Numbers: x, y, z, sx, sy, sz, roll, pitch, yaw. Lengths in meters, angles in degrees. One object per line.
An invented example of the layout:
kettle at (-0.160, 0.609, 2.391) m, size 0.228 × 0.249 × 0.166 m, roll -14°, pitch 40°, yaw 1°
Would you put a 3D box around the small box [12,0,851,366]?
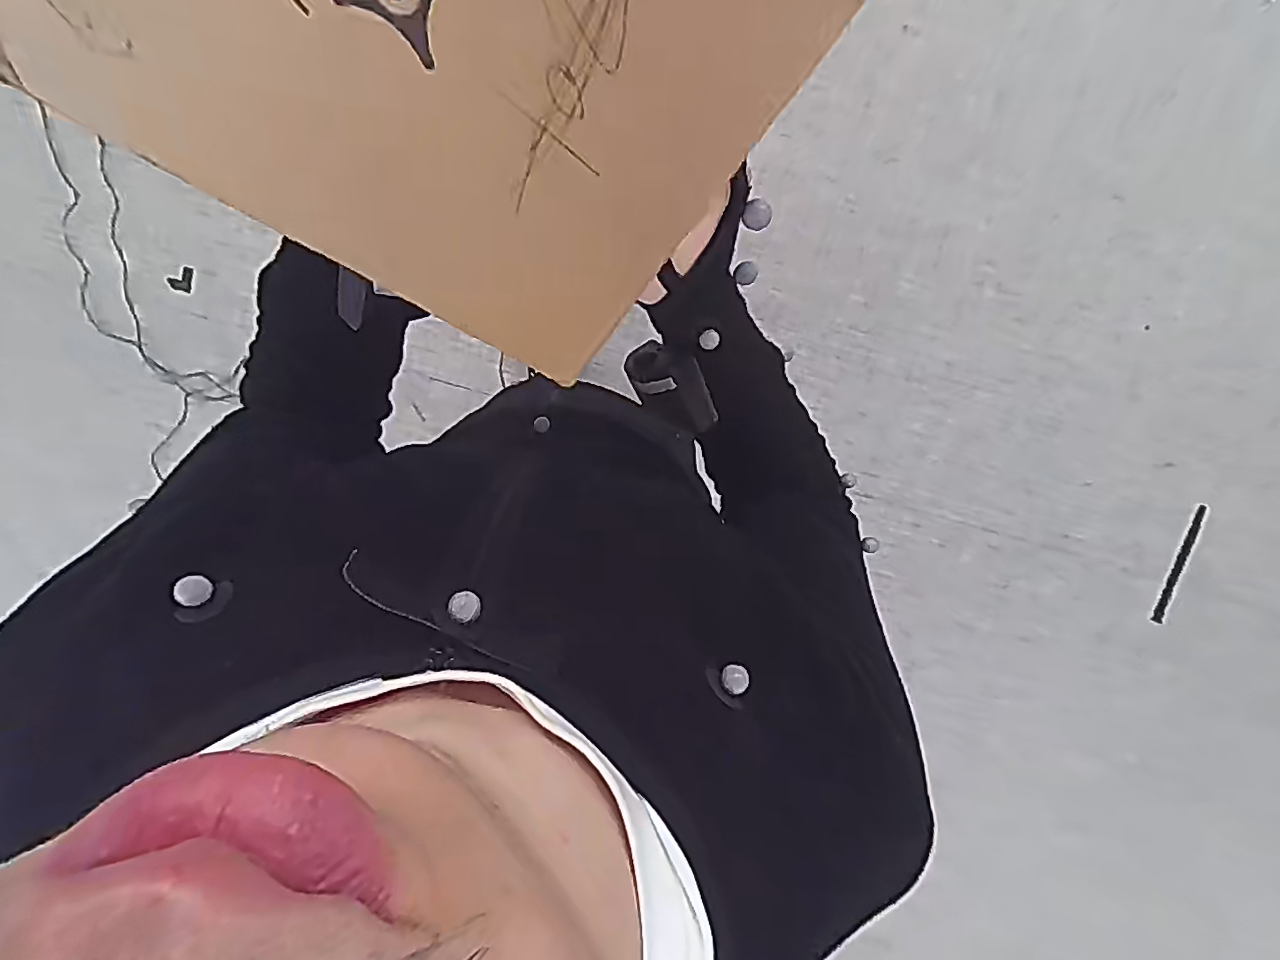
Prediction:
small box at (-0.044, -0.179, 0.173) m, size 0.179 × 0.176 × 0.168 m, roll 26°, pitch 141°, yaw -21°
